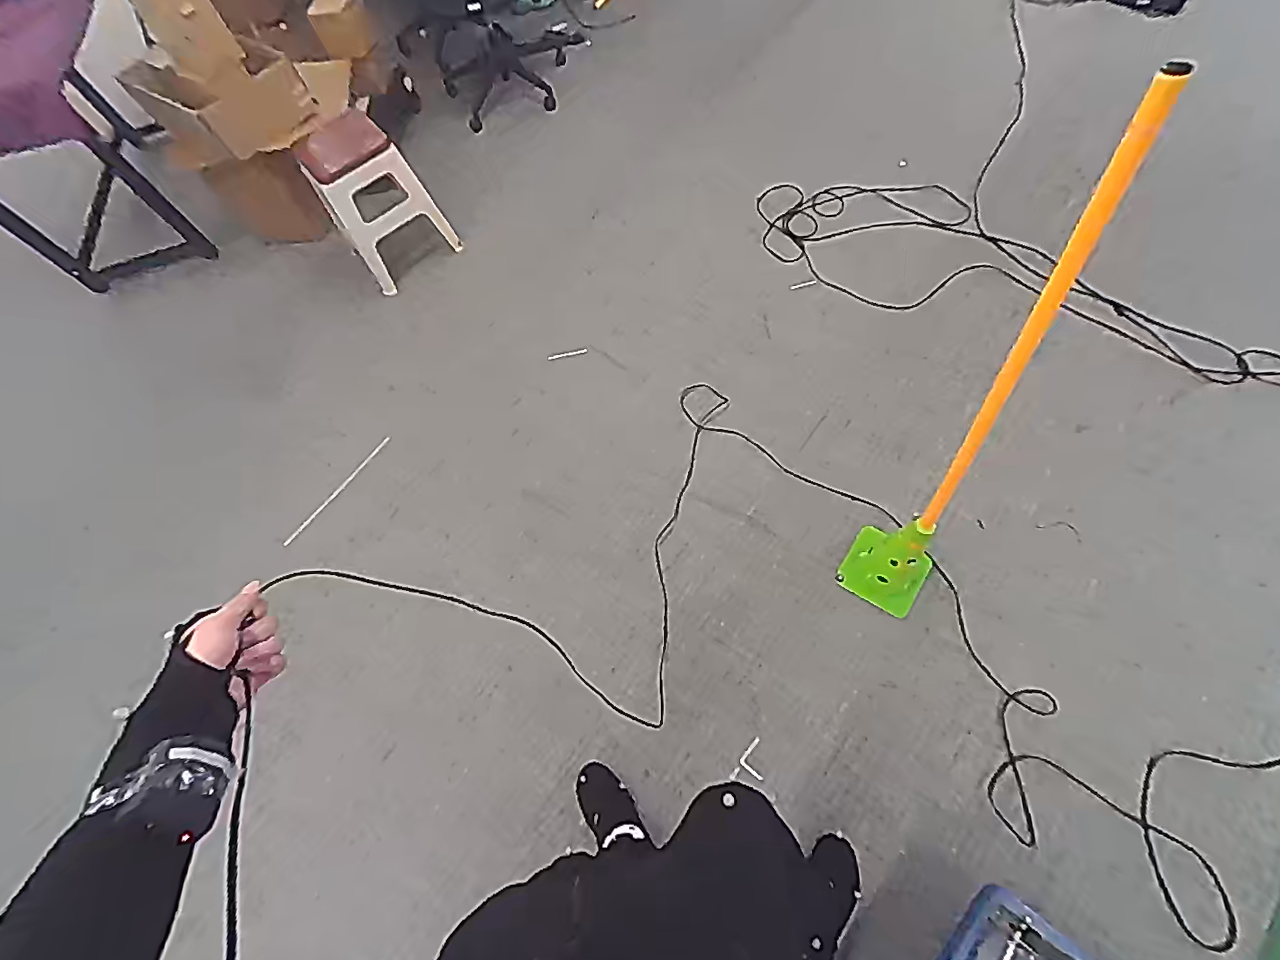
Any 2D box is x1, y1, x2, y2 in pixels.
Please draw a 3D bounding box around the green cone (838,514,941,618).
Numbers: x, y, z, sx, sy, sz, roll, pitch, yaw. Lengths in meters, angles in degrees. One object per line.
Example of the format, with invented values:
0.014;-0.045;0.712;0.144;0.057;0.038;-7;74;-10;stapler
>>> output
0.646;0.172;1.311;0.200;0.368;0.202;29;71;20;green cone
